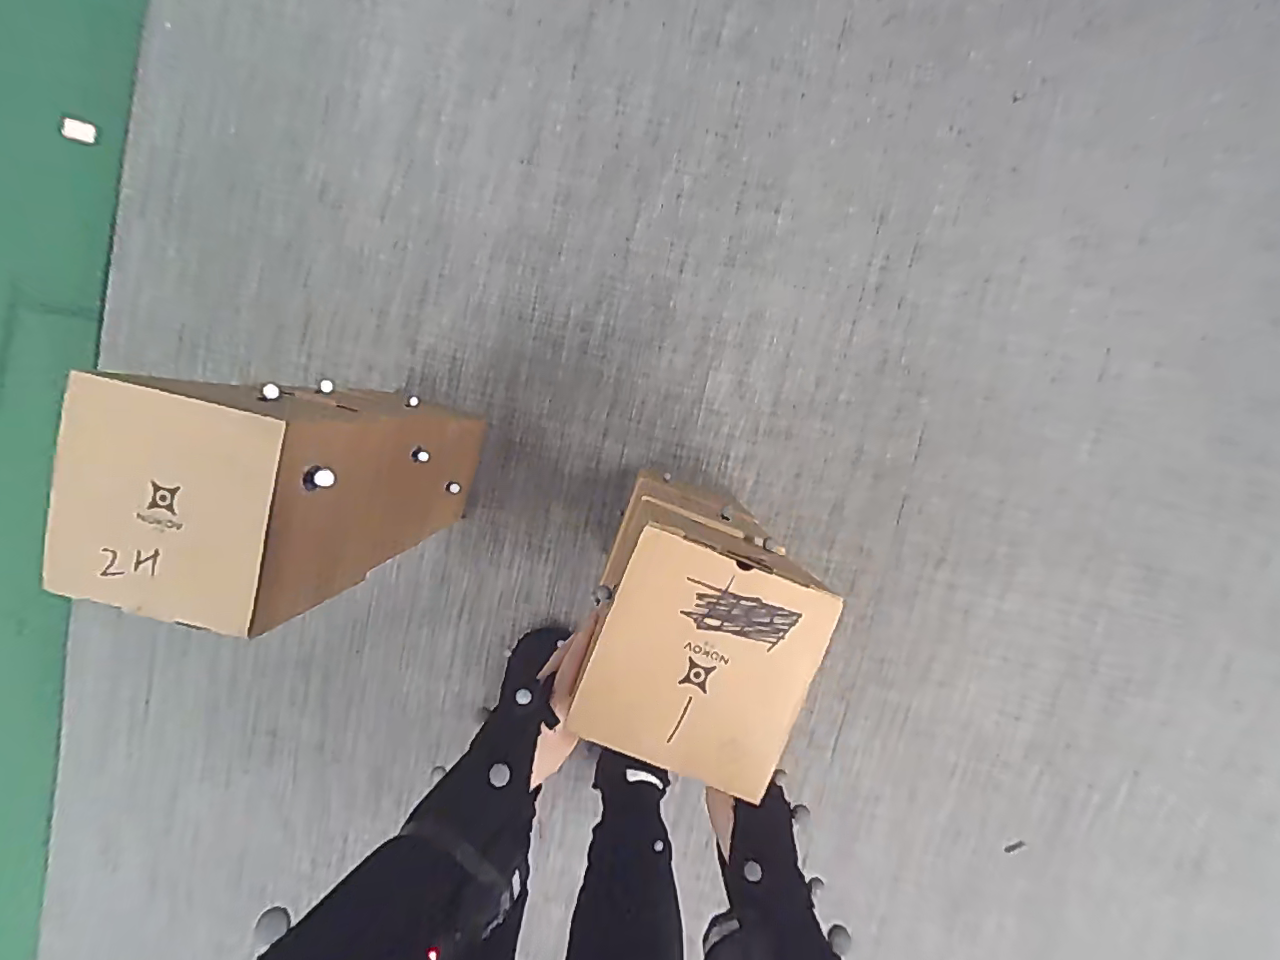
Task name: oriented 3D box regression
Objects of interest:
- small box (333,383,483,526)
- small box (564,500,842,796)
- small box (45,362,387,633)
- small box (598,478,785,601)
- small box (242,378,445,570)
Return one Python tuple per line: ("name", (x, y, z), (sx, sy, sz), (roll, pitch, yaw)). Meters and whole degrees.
("small box", (-0.352, -0.034, 0.810), (0.168, 0.176, 0.179), (16, 97, -1))
("small box", (0.046, 0.129, 0.489), (0.168, 0.176, 0.179), (22, 95, -1))
("small box", (-0.354, 0.007, 0.485), (0.168, 0.176, 0.179), (13, 96, 1))
("small box", (0.049, 0.107, 0.656), (0.168, 0.176, 0.179), (20, 97, -1))
("small box", (-0.352, -0.014, 0.649), (0.168, 0.176, 0.179), (13, 97, 1))
